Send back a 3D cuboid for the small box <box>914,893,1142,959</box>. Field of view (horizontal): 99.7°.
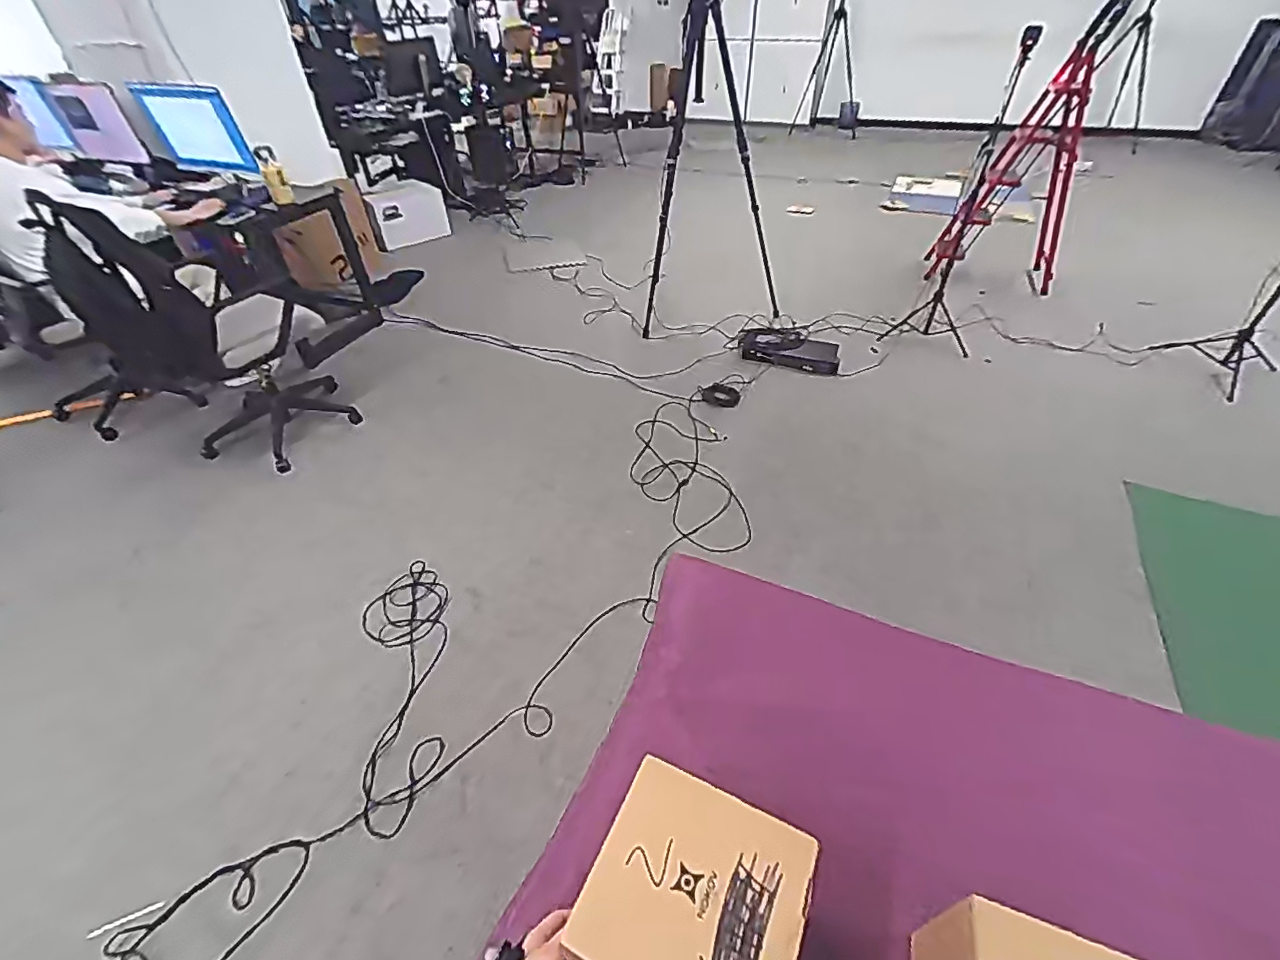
[{"bbox_3d":[0.324,0.479,0.423,0.168,0.176,0.179,13,42,17],"label":"small box"}]
